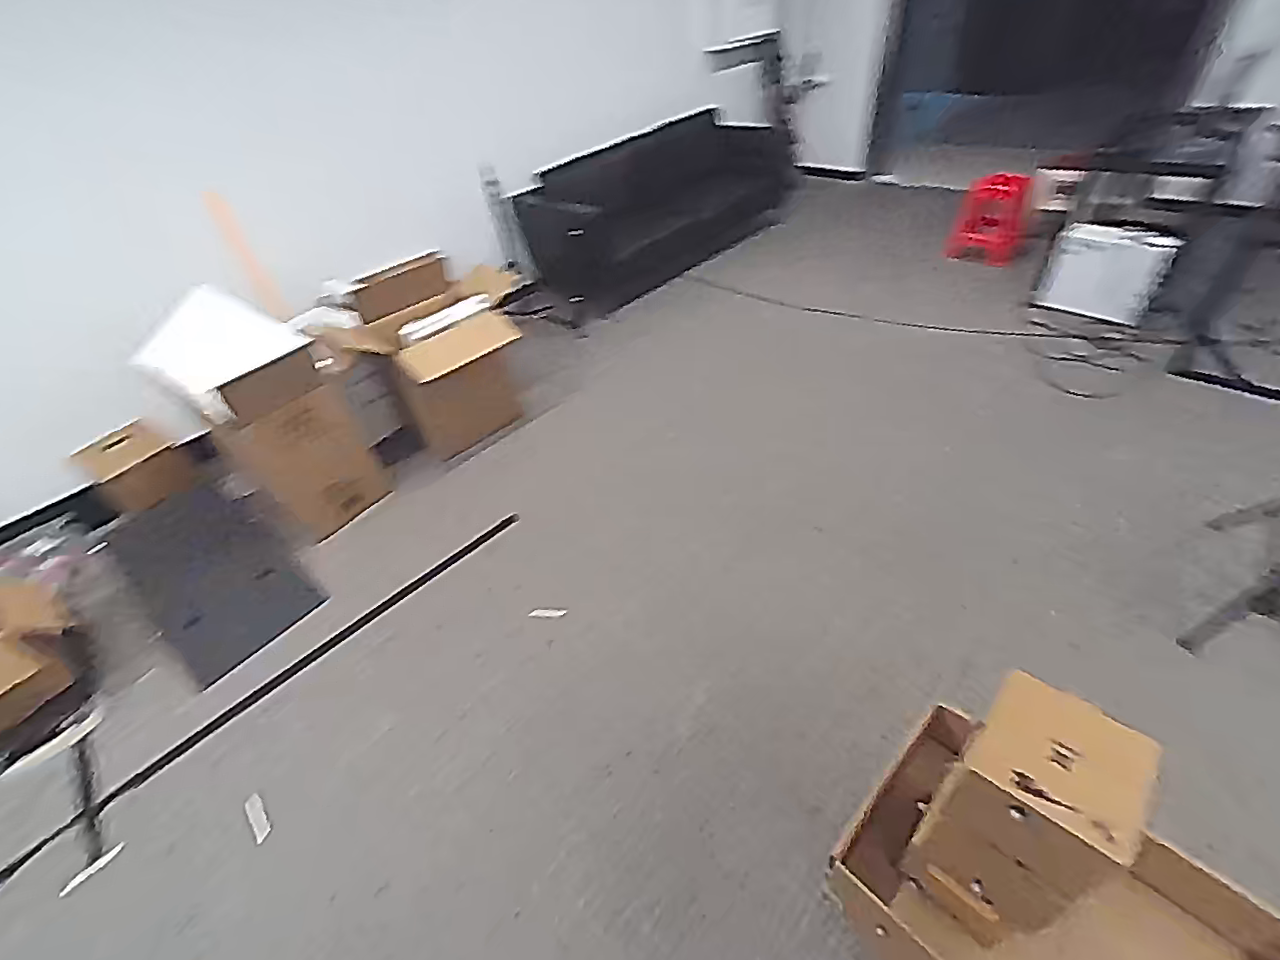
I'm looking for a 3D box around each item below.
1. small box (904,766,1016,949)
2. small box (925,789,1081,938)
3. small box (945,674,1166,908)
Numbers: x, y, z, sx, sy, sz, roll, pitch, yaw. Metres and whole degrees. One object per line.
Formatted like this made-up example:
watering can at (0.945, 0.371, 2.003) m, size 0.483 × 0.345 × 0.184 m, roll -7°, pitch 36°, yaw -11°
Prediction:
small box at (0.576, 0.648, 0.928) m, size 0.179 × 0.176 × 0.168 m, roll -36°, pitch 47°, yaw -29°
small box at (0.556, 0.530, 0.814) m, size 0.168 × 0.176 × 0.179 m, roll 28°, pitch 54°, yaw 36°
small box at (0.531, 0.404, 0.711) m, size 0.168 × 0.176 × 0.179 m, roll 28°, pitch 52°, yaw 36°
